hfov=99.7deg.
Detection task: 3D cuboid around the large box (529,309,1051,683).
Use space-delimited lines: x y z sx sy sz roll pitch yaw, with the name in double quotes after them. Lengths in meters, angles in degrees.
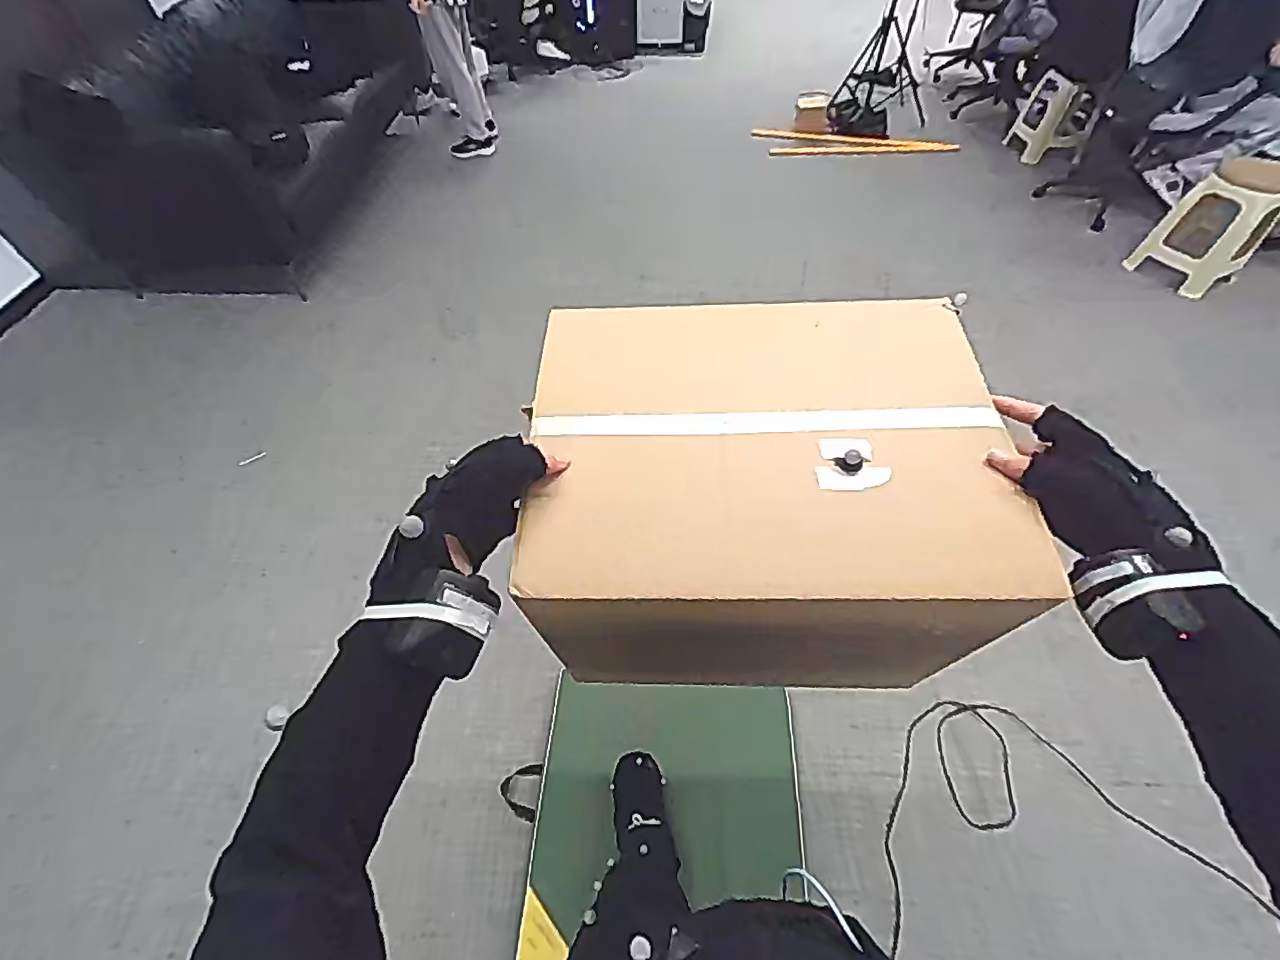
0.115 0.035 0.613 0.408 0.320 0.320 -1 58 2 "large box"
